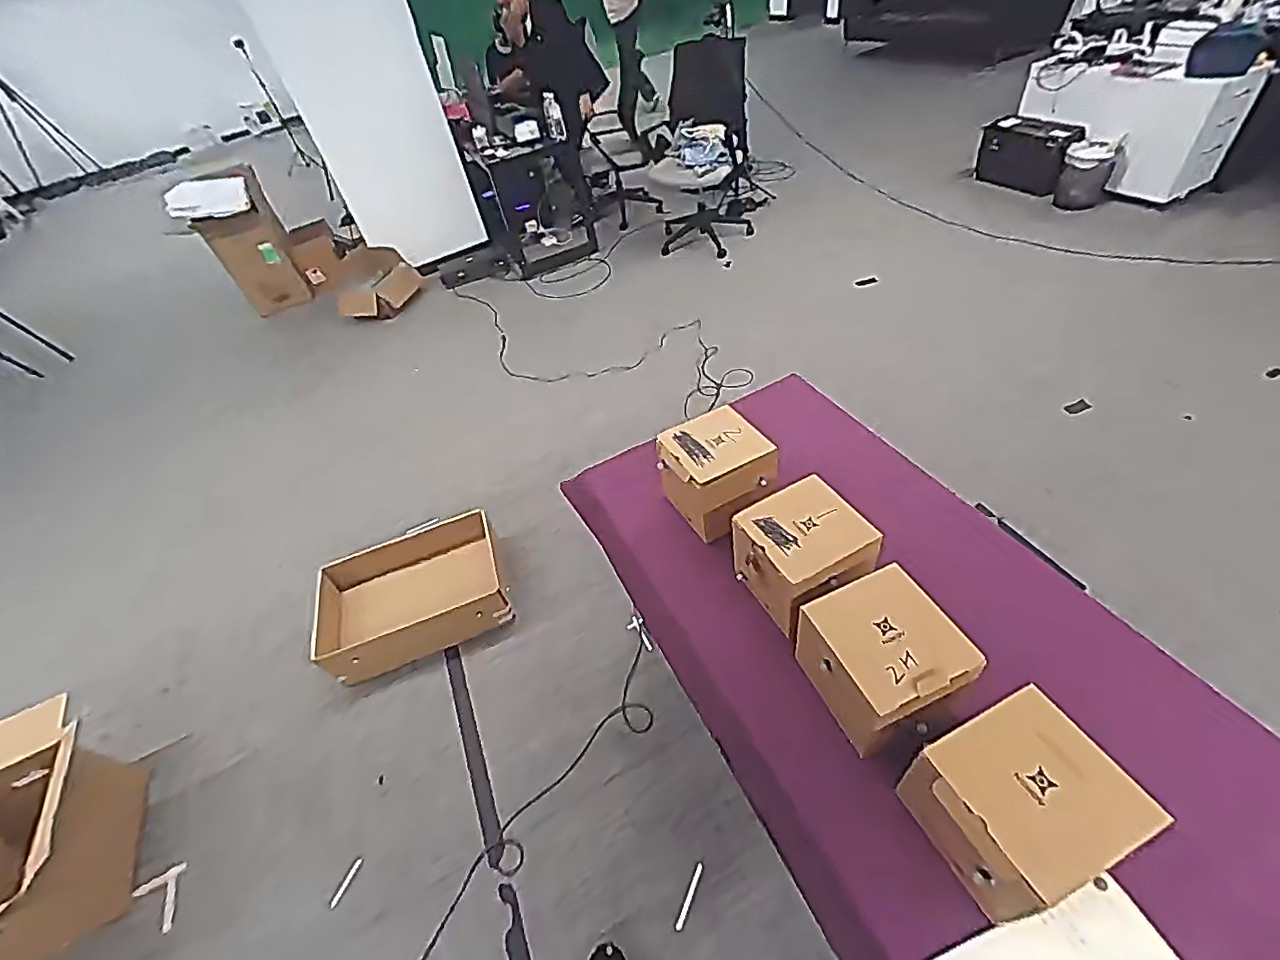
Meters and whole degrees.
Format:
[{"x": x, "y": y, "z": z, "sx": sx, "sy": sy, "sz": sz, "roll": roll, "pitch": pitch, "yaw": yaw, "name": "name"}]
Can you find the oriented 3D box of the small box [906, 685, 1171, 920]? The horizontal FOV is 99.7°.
[{"x": 0.446, "y": 0.386, "z": 0.645, "sx": 0.179, "sy": 0.176, "sz": 0.168, "roll": -23, "pitch": 47, "yaw": -11, "name": "small box"}]
